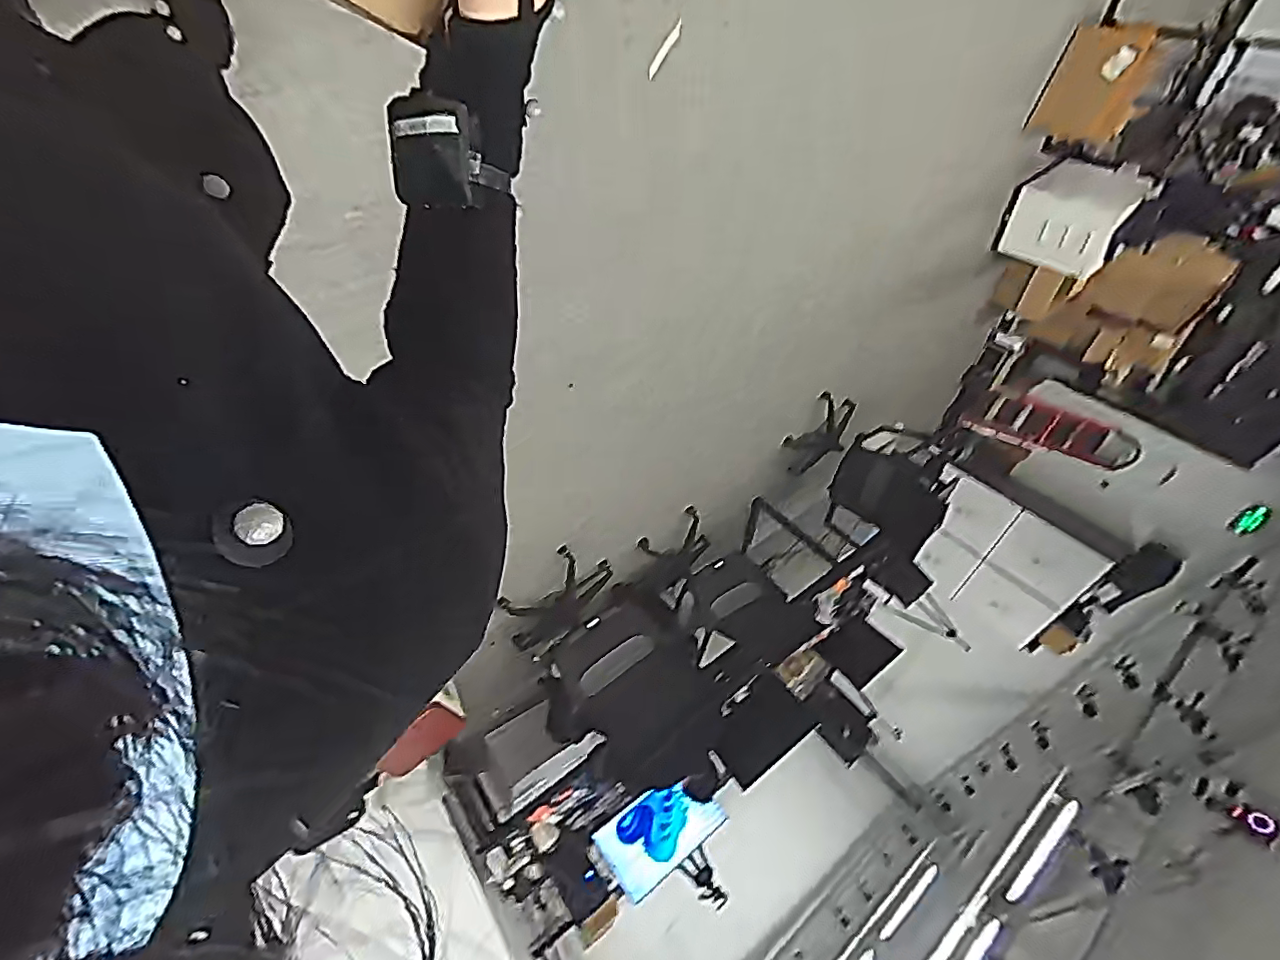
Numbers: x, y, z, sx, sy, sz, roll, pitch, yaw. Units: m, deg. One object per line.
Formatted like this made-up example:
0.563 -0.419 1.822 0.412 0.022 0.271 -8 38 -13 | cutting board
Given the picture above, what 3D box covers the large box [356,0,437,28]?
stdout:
-0.298 -0.530 0.267 0.408 0.320 0.320 5 123 -43 | large box
